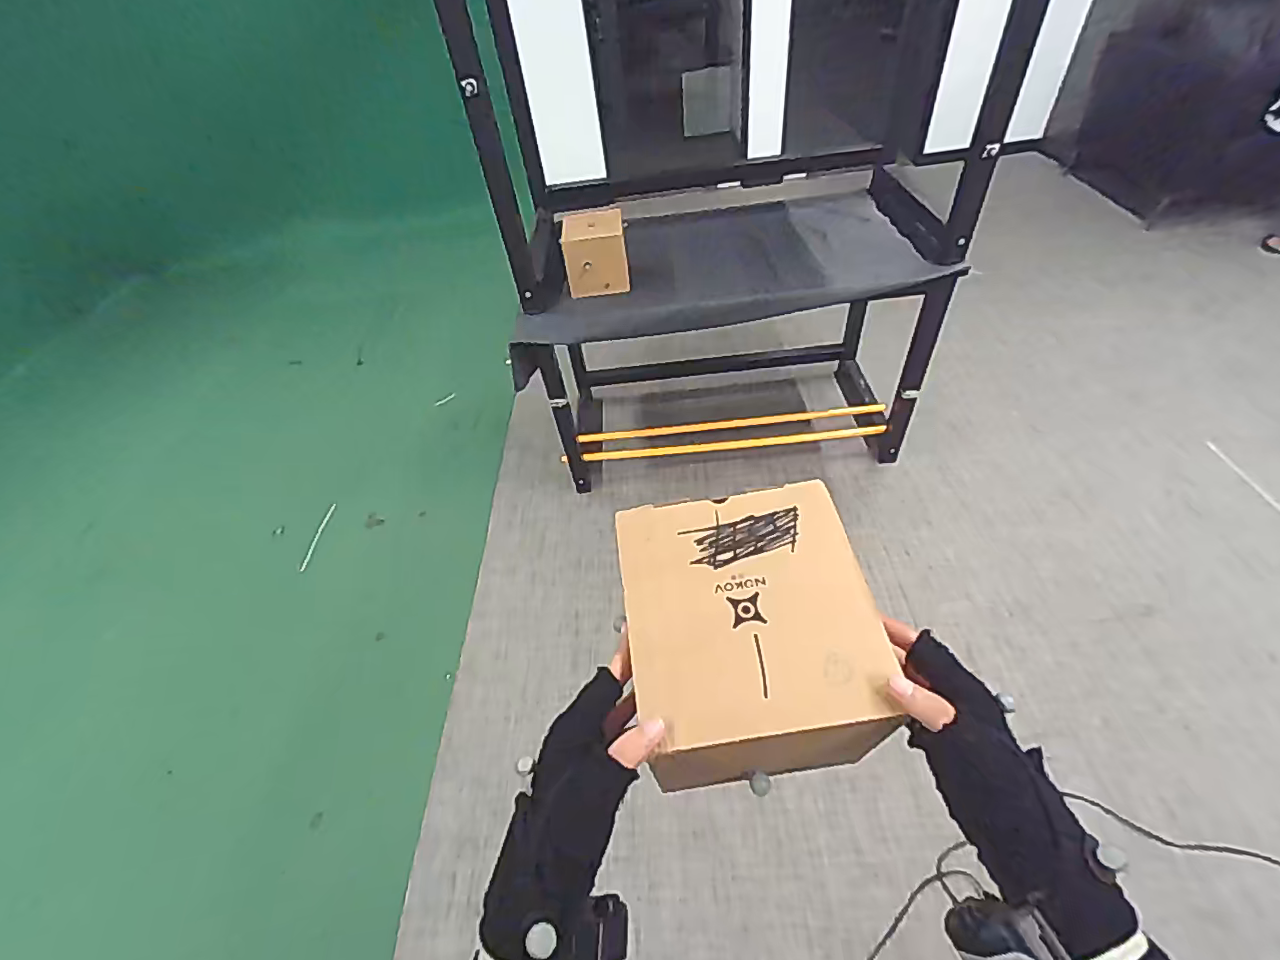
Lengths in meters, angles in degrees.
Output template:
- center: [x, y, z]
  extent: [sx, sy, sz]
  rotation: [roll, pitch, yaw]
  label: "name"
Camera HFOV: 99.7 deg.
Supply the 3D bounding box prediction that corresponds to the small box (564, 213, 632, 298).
- center: [-0.115, -0.631, 1.537]
  extent: [0.168, 0.176, 0.179]
  rotation: [-6, 46, 2]
  label: "small box"
